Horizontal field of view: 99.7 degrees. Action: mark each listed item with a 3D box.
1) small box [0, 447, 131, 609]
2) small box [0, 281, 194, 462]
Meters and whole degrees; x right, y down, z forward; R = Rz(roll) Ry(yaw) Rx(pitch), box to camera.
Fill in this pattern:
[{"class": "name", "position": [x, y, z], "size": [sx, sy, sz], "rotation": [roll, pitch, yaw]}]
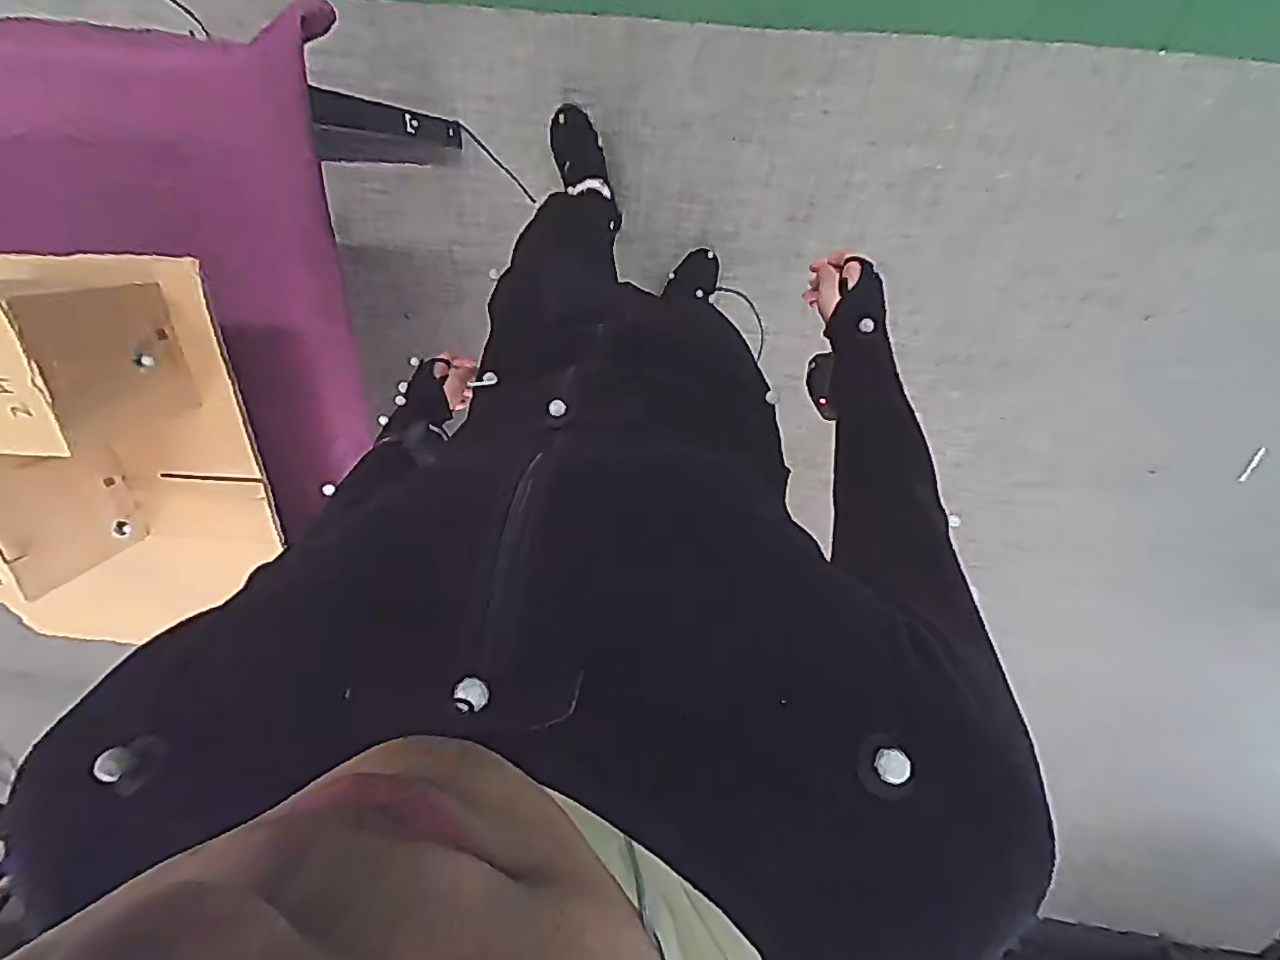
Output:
[{"class": "small box", "position": [-0.844, 0.050, 0.722], "size": [0.179, 0.176, 0.168], "rotation": [3, 115, 5]}, {"class": "small box", "position": [-0.680, -0.133, 0.621], "size": [0.179, 0.176, 0.168], "rotation": [4, 116, 4]}]
